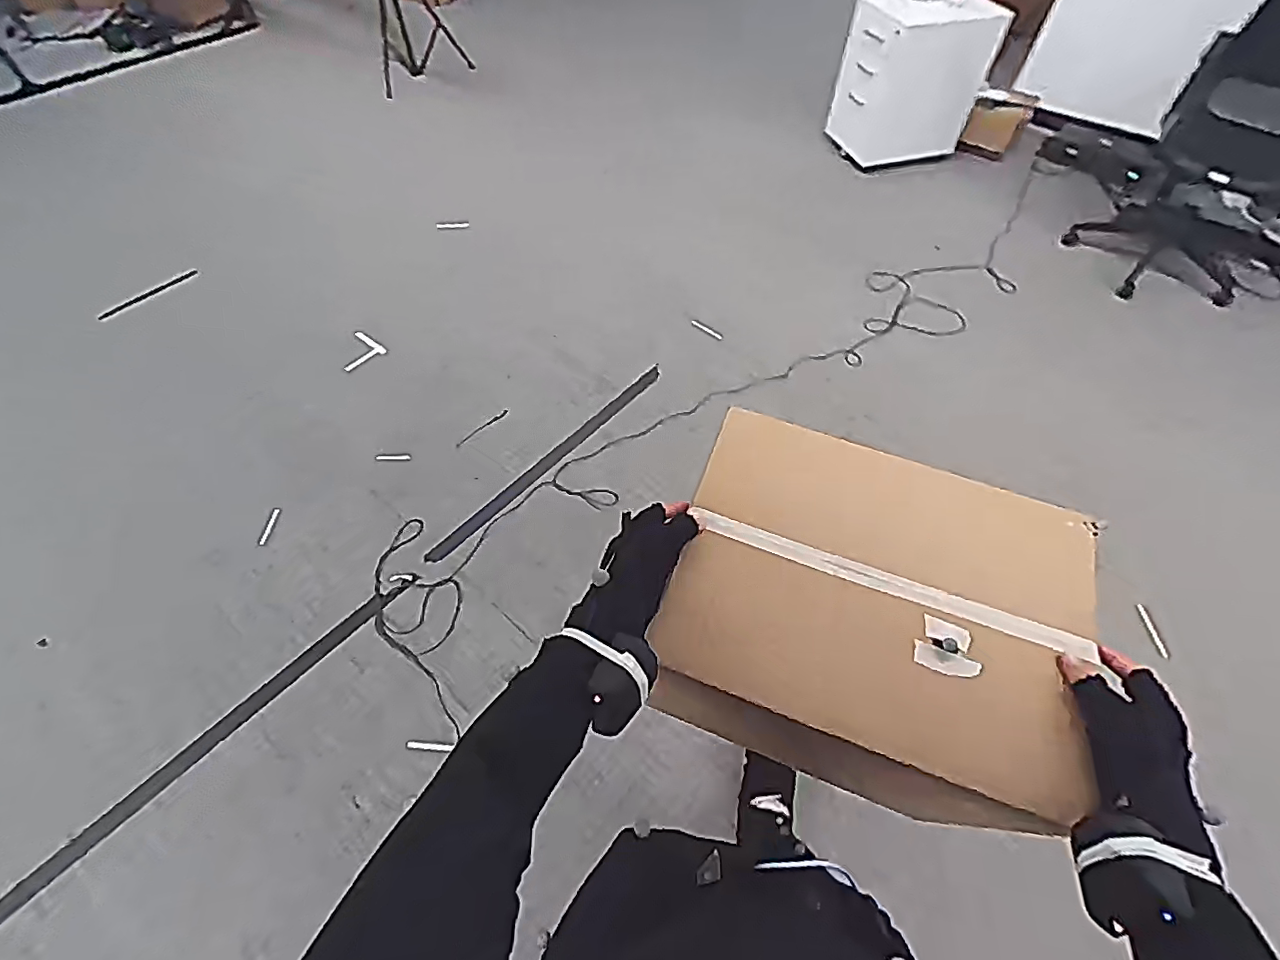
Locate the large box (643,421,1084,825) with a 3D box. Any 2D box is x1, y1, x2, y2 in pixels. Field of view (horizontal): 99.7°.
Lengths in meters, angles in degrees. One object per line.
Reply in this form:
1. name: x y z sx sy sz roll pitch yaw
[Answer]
1. large box: 0.241 0.183 0.688 0.408 0.320 0.320 19 63 9
